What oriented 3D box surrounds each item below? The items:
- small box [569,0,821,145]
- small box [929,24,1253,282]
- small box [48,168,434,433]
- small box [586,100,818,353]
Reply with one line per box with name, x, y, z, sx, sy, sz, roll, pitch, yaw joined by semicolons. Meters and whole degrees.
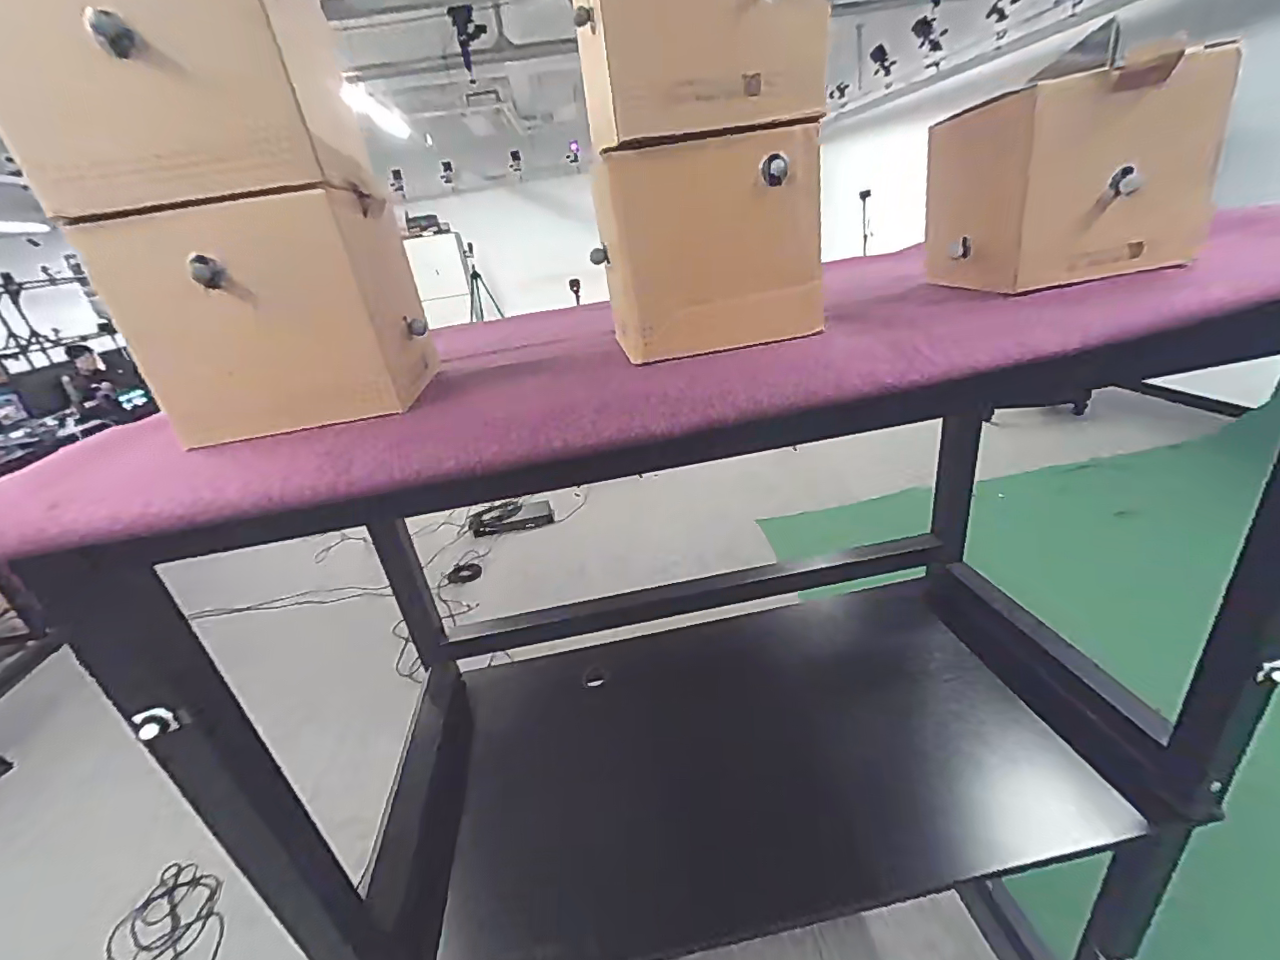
small box;0.036;-0.370;0.437;0.168;0.176;0.179;-10;23;-7
small box;0.406;-0.296;0.528;0.168;0.176;0.179;-9;24;3
small box;-0.300;-0.150;0.460;0.179;0.176;0.168;-10;27;-4
small box;0.053;-0.223;0.504;0.179;0.176;0.168;-10;24;-4
